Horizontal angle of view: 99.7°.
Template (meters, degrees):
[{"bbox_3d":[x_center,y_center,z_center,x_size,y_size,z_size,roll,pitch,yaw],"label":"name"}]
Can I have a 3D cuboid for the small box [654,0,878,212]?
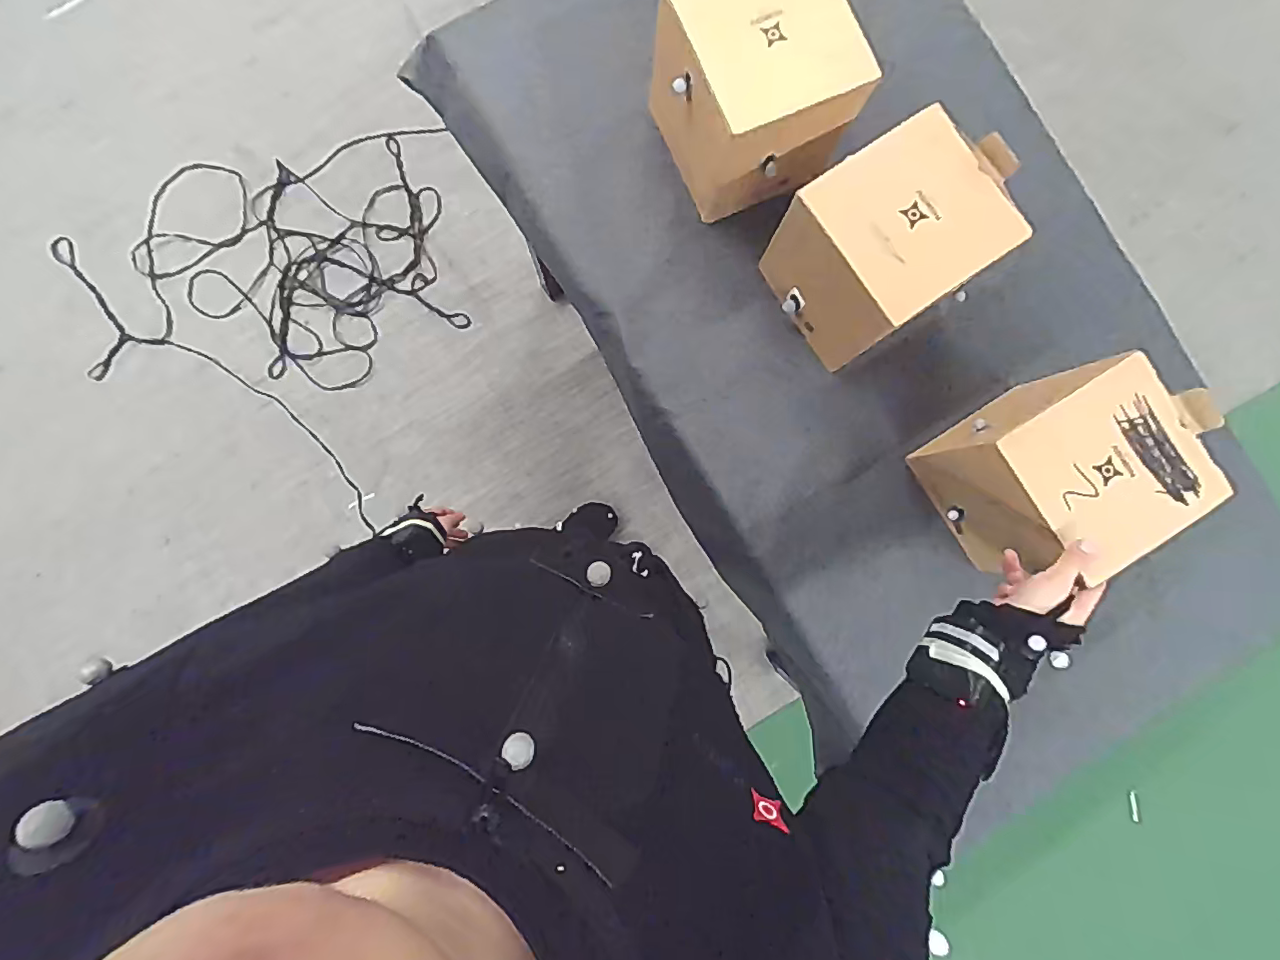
[{"bbox_3d":[0.126,-0.437,0.613,0.168,0.176,0.179,-24,87,-4],"label":"small box"}]

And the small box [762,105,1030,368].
[{"bbox_3d":[0.266,-0.255,0.607,0.179,0.176,0.168,-35,87,-5],"label":"small box"}]
